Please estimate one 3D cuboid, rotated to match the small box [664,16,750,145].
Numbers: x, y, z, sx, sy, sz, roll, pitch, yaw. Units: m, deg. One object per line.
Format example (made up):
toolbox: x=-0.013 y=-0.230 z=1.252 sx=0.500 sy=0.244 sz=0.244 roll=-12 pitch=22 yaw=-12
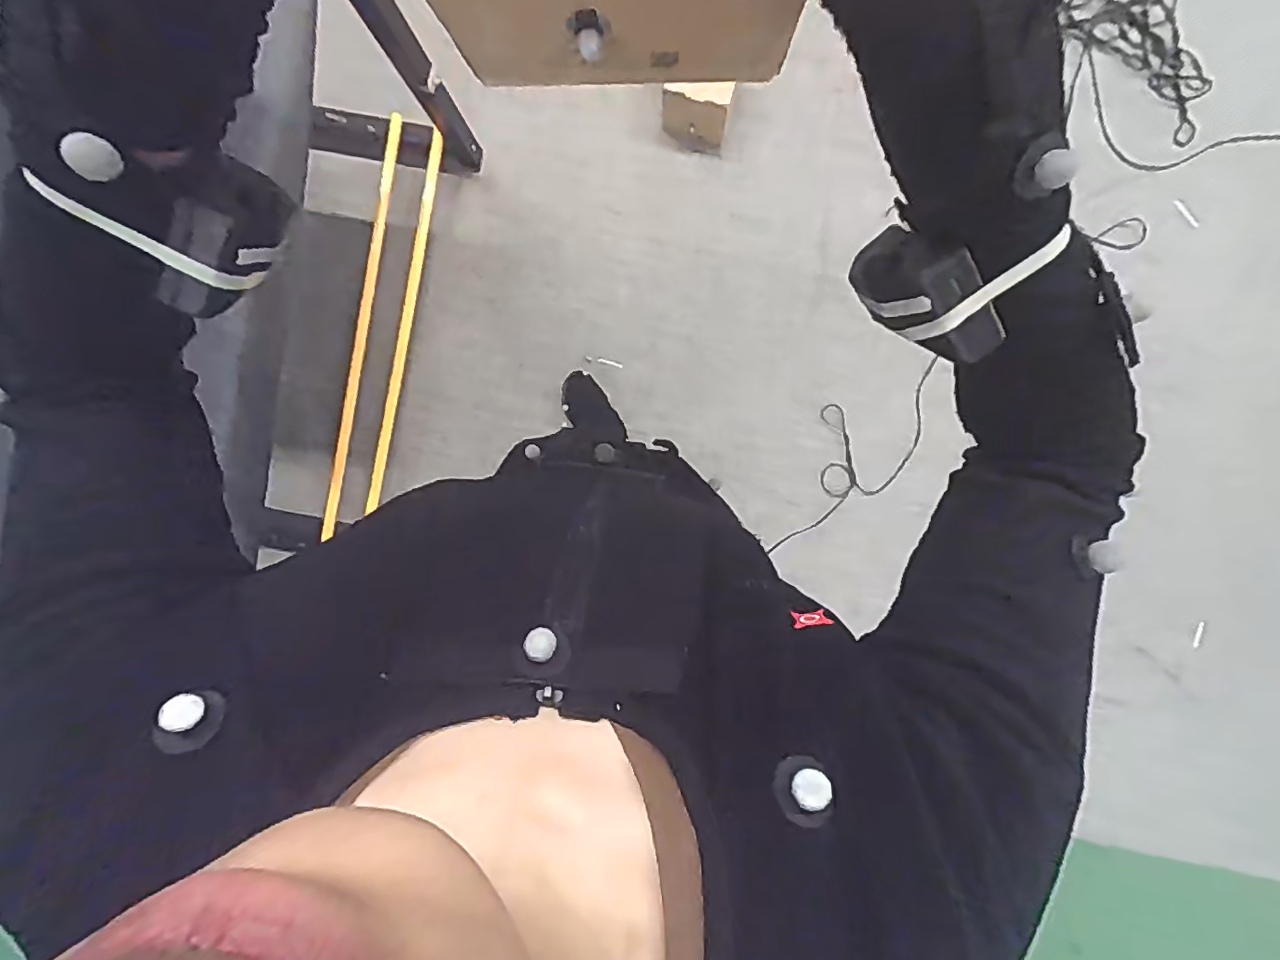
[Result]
small box: x=0.161 y=-0.992 z=1.356 sx=0.168 sy=0.176 sz=0.179 roll=17 pitch=93 yaw=3
